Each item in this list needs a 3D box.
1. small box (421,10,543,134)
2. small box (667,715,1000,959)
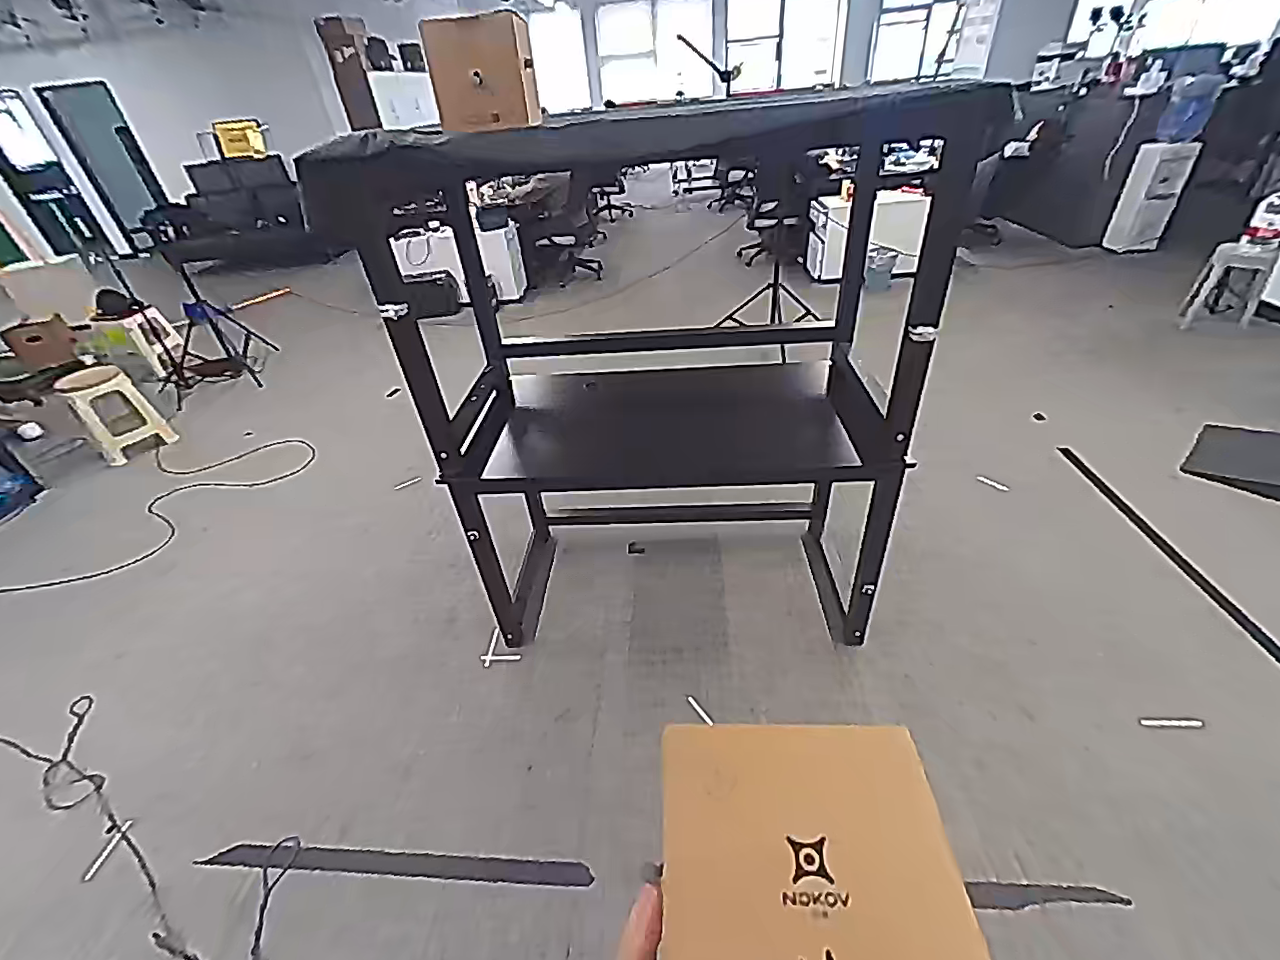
[{"bbox_3d":[-0.284,-0.759,1.019,0.168,0.176,0.179,-4,35,1],"label":"small box"},{"bbox_3d":[0.101,0.278,0.349,0.168,0.176,0.179,-1,40,4],"label":"small box"}]
